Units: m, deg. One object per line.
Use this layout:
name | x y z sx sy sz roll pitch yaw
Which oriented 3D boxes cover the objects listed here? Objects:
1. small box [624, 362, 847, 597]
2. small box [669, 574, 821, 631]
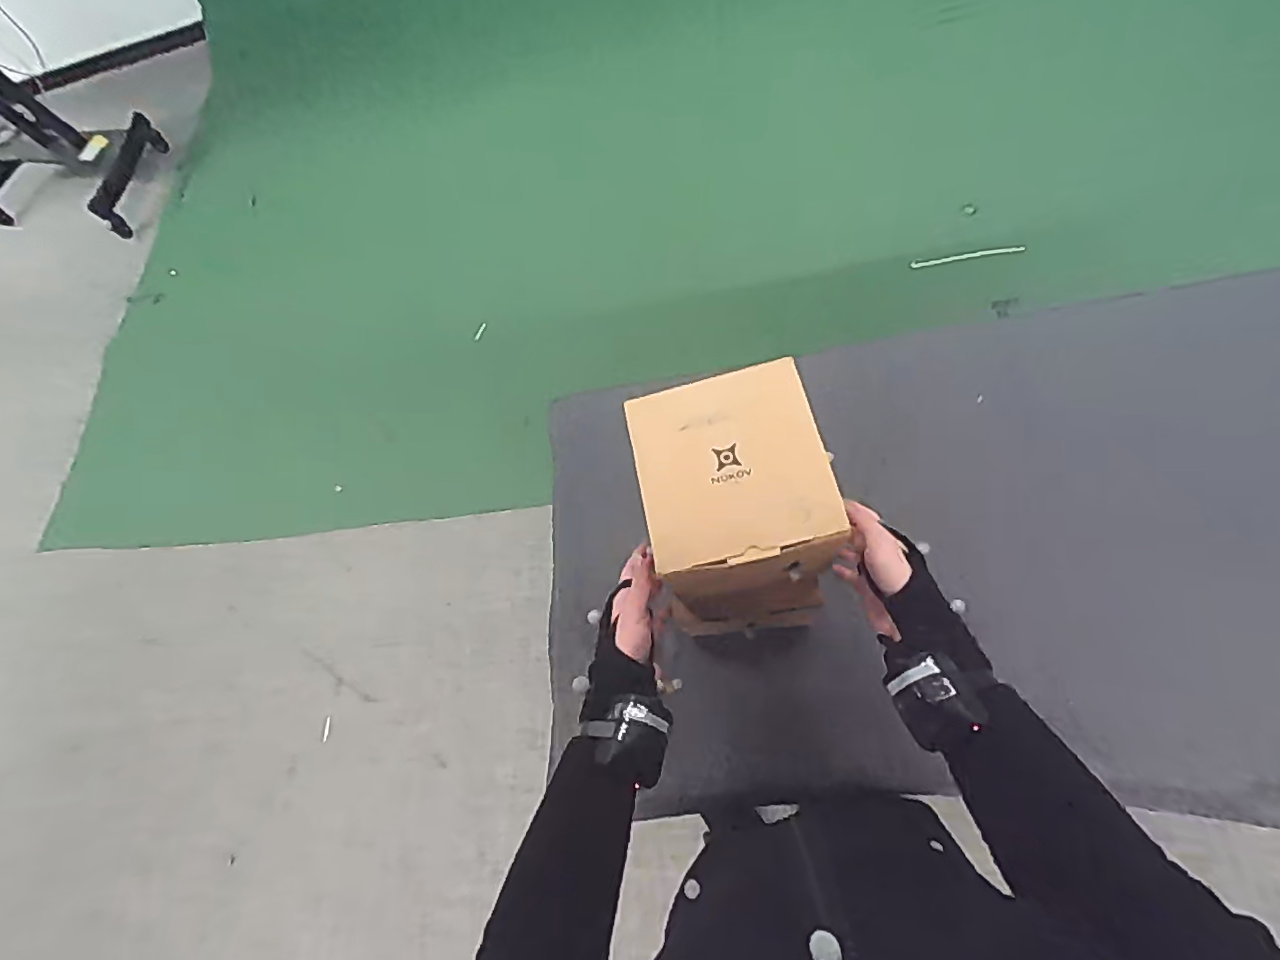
small box | 0.093 0.015 0.551 0.168 0.176 0.179 -14 66 6
small box | 0.125 0.097 0.690 0.168 0.176 0.179 -9 69 8
